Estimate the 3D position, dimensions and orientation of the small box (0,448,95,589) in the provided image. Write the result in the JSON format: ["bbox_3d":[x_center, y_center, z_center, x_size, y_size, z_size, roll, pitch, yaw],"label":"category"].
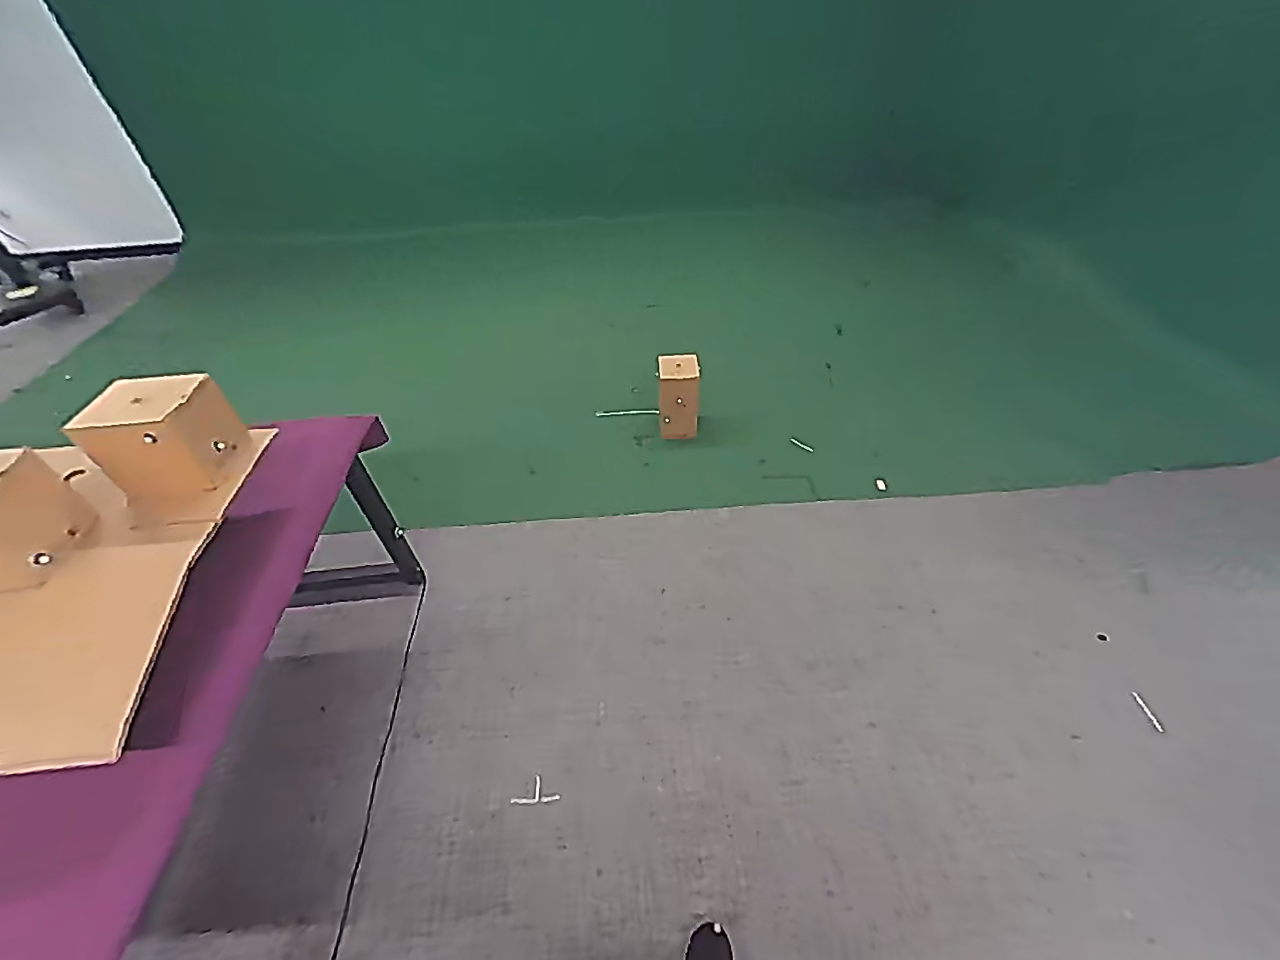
[{"bbox_3d":[-1.083,0.070,0.889,0.179,0.176,0.168,-6,42,-3],"label":"small box"}]

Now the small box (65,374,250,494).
[{"bbox_3d":[-0.921,-0.088,1.055,0.179,0.176,0.168,-5,42,-3],"label":"small box"}]

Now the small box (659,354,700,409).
[{"bbox_3d":[0.168,-0.426,2.343,0.168,0.176,0.179,-2,45,1],"label":"small box"}]
